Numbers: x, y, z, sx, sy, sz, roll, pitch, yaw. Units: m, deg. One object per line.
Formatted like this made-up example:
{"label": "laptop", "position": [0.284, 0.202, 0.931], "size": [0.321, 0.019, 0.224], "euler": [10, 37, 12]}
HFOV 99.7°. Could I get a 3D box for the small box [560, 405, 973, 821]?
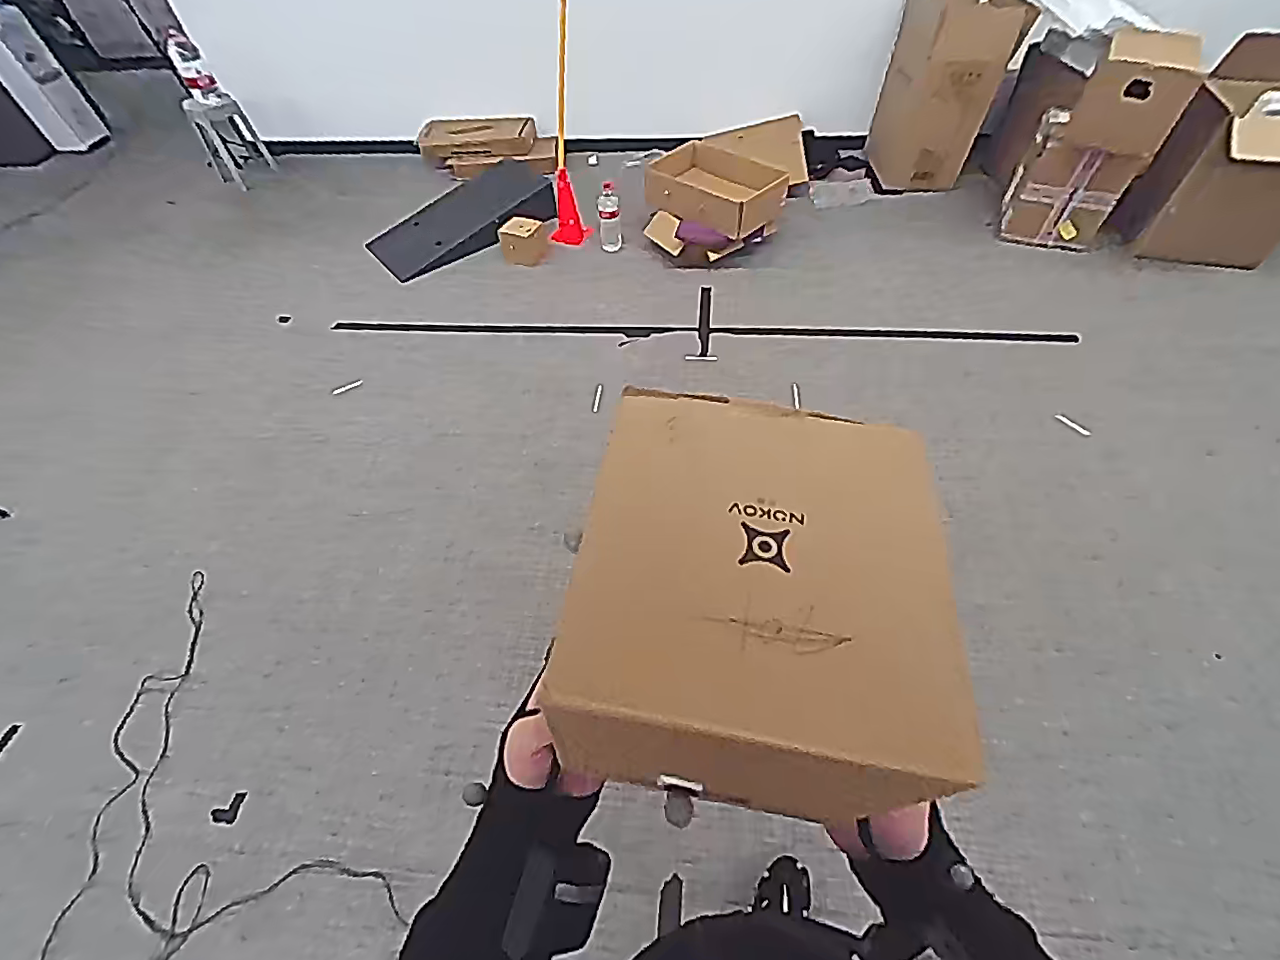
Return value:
{"label": "small box", "position": [0.053, 0.084, 0.323], "size": [0.168, 0.176, 0.179], "euler": [8, 53, 2]}
